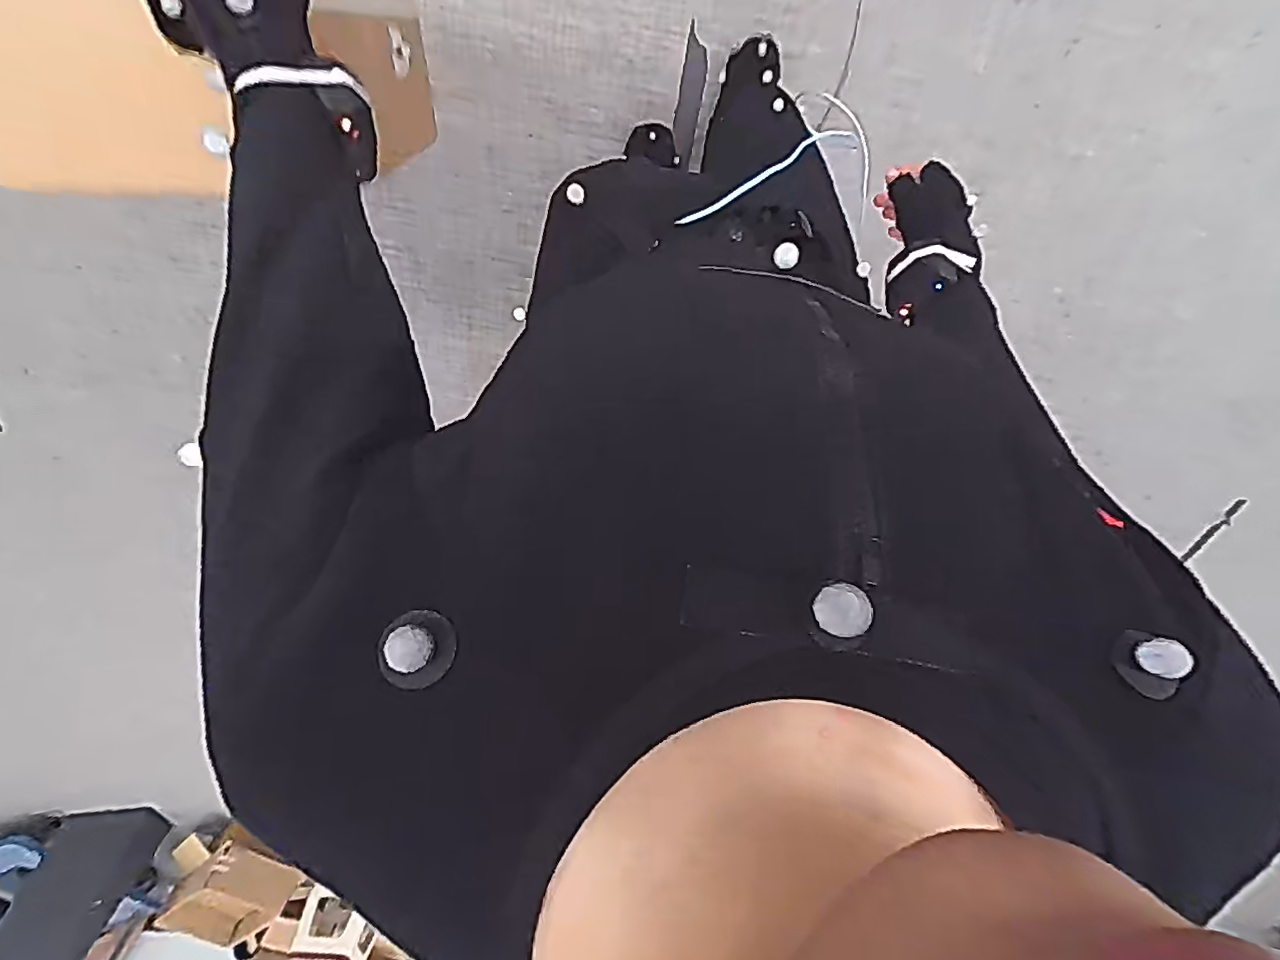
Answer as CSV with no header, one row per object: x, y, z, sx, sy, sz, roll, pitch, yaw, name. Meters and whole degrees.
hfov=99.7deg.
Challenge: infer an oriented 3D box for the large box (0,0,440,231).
-0.450,-0.490,0.594,0.320,0.408,0.320,-2,128,-4,large box
